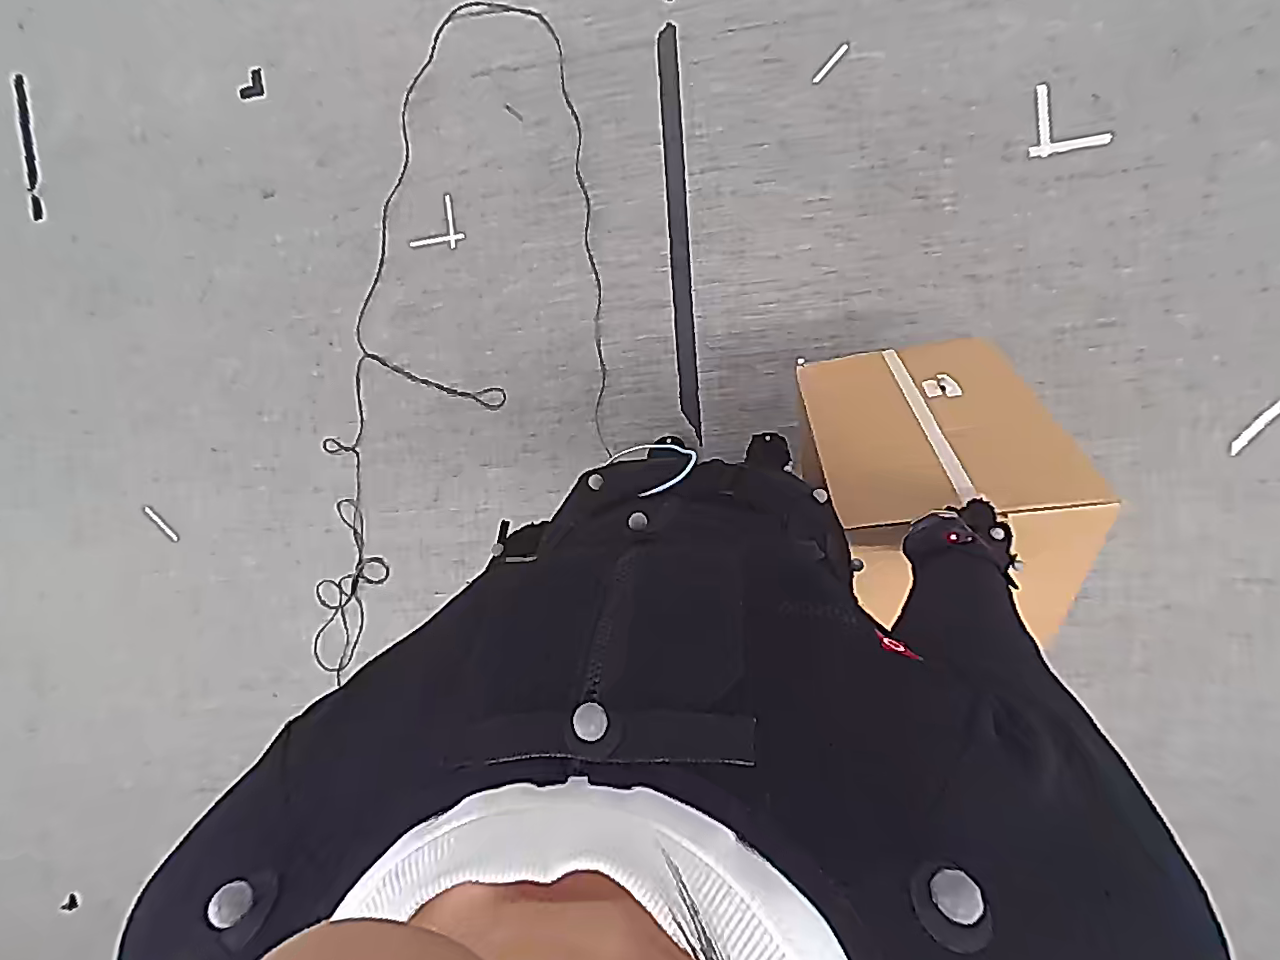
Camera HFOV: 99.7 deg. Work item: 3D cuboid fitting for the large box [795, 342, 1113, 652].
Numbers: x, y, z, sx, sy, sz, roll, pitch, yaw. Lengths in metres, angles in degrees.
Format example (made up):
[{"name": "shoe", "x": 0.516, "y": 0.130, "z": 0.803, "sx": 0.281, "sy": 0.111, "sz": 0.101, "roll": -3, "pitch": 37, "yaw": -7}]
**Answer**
[{"name": "large box", "x": 0.457, "y": 0.023, "z": 0.906, "sx": 0.320, "sy": 0.408, "sz": 0.320, "roll": -7, "pitch": 130, "yaw": 10}]
